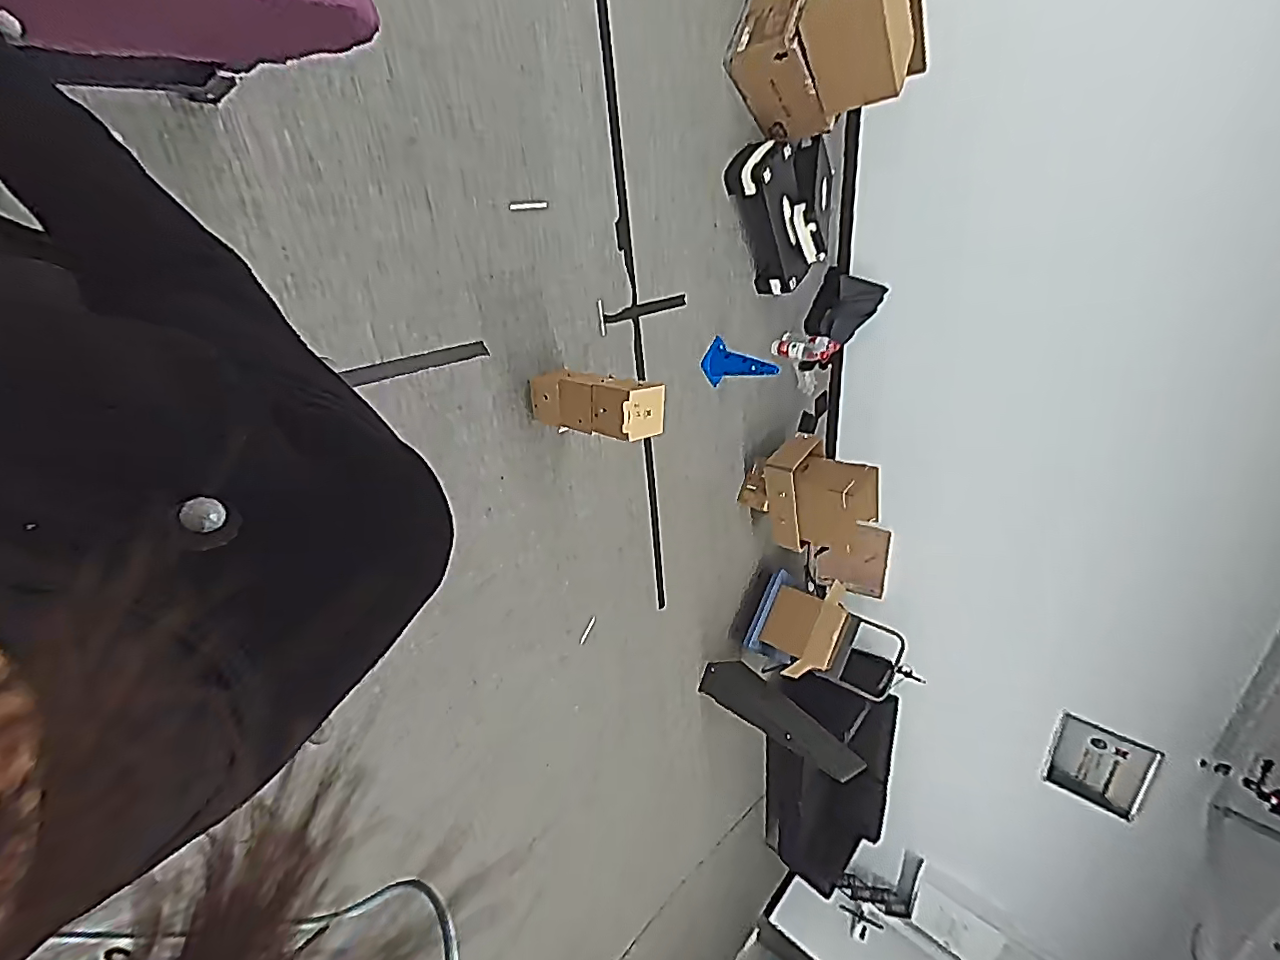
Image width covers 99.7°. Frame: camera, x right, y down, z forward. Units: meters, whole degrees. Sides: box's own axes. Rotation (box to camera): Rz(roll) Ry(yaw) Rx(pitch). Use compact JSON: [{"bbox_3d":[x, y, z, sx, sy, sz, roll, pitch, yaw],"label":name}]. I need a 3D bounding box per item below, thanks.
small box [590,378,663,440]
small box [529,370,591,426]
[{"bbox_3d":[-0.047,-0.243,1.800,0.179,0.176,0.168,-19,118,-44],"label":"small box"},{"bbox_3d":[-0.297,-0.309,2.006,0.179,0.176,0.168,-25,122,-42],"label":"small box"}]
